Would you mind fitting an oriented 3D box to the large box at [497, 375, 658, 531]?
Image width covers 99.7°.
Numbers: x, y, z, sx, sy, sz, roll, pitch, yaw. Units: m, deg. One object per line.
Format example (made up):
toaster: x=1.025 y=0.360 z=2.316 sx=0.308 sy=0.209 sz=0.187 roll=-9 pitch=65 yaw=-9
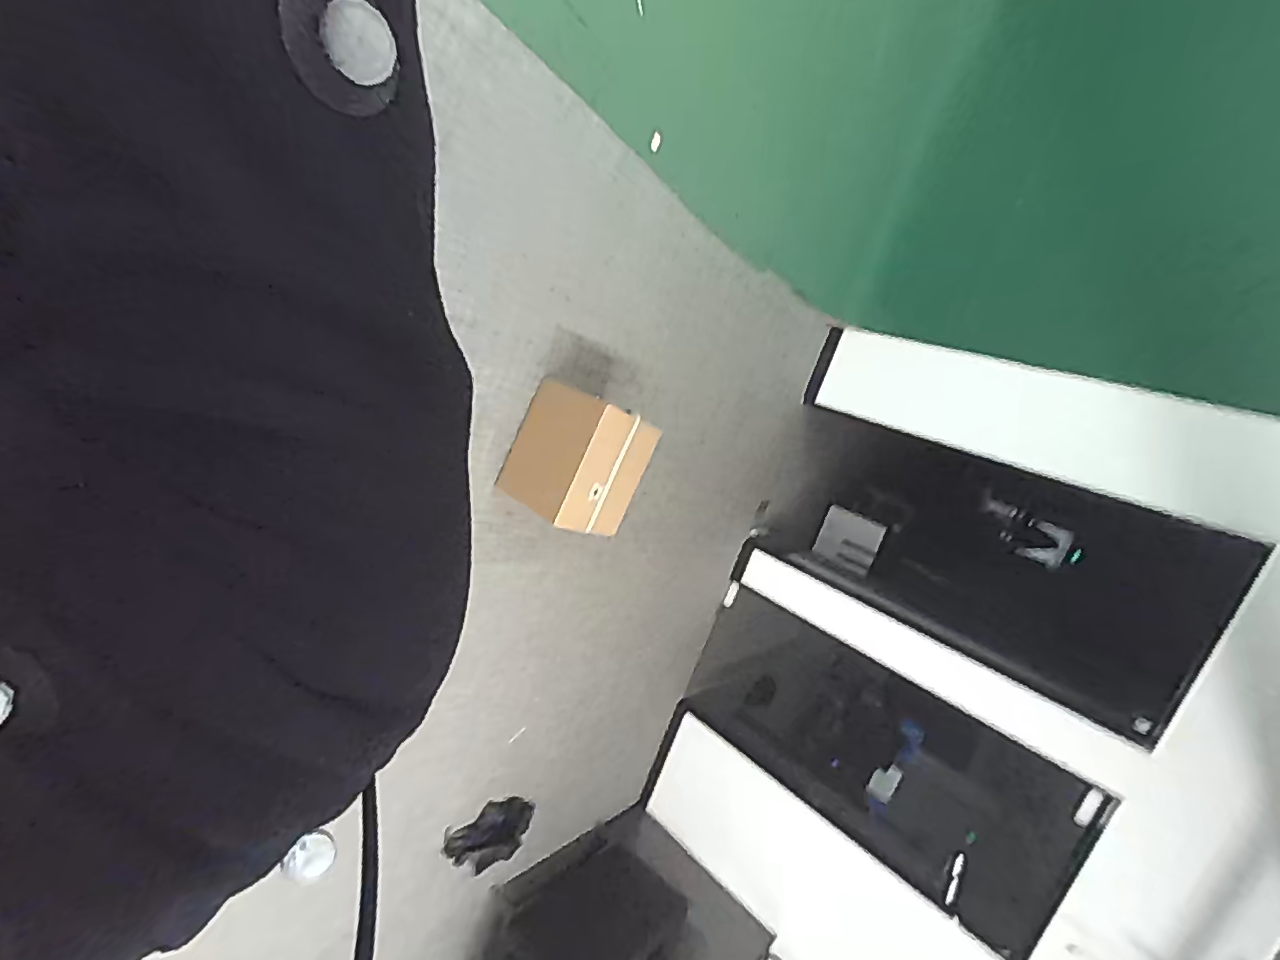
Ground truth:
large box: x=-0.207 y=-0.086 z=1.803 sx=0.320 sy=0.320 sz=0.408 roll=19 pitch=98 yaw=-54
